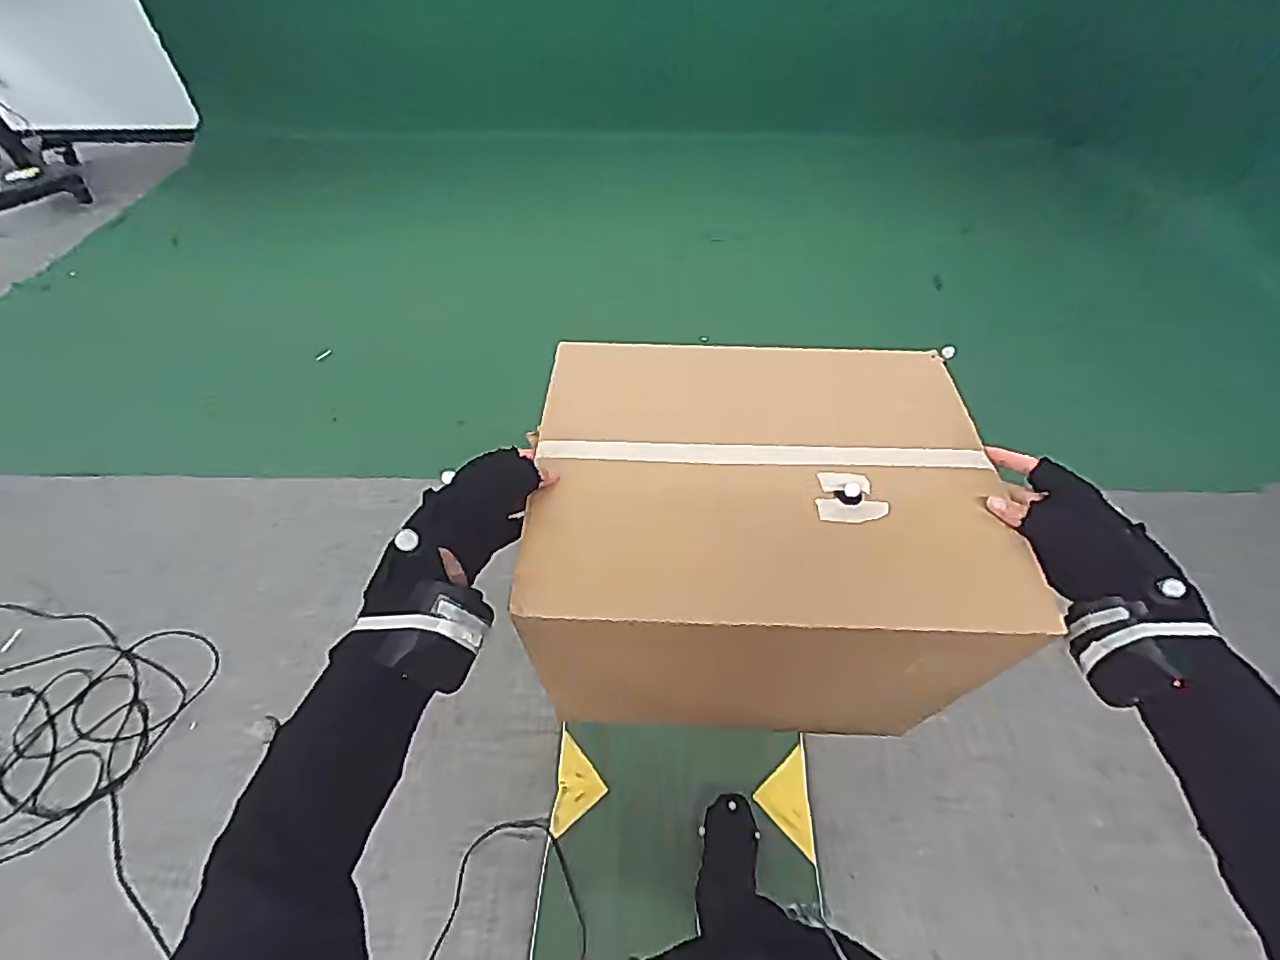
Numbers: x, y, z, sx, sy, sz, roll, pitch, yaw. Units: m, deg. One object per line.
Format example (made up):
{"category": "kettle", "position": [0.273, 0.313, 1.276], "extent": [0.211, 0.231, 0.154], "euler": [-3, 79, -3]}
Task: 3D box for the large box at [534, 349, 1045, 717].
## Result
{"category": "large box", "position": [0.113, 0.071, 0.620], "extent": [0.408, 0.320, 0.320], "euler": [2, 53, 0]}
